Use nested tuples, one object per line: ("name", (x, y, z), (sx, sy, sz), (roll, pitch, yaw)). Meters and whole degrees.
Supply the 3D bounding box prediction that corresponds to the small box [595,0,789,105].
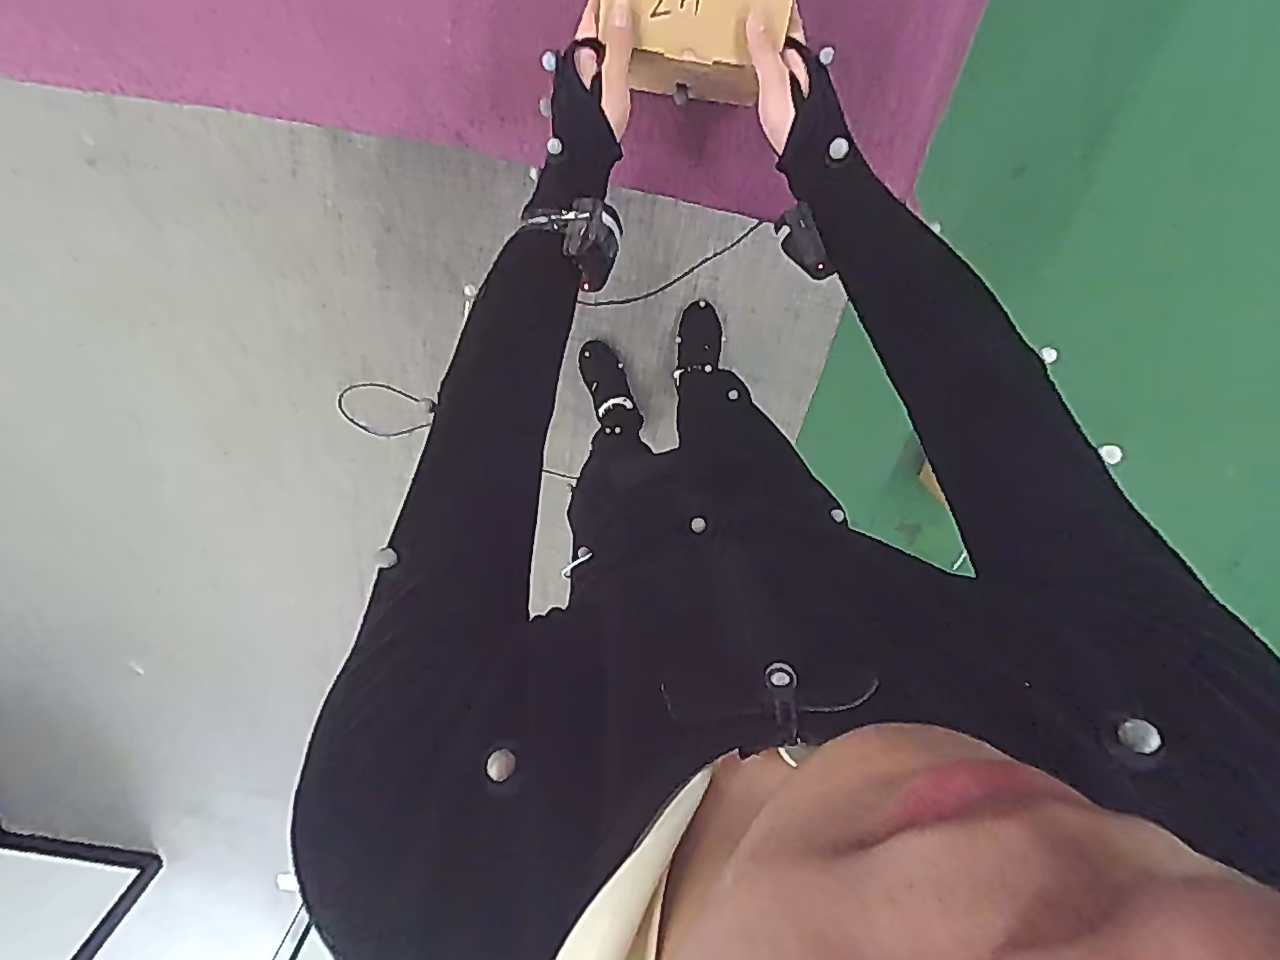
("small box", (0.055, -0.487, 0.515), (0.168, 0.176, 0.179), (8, 117, -1))
